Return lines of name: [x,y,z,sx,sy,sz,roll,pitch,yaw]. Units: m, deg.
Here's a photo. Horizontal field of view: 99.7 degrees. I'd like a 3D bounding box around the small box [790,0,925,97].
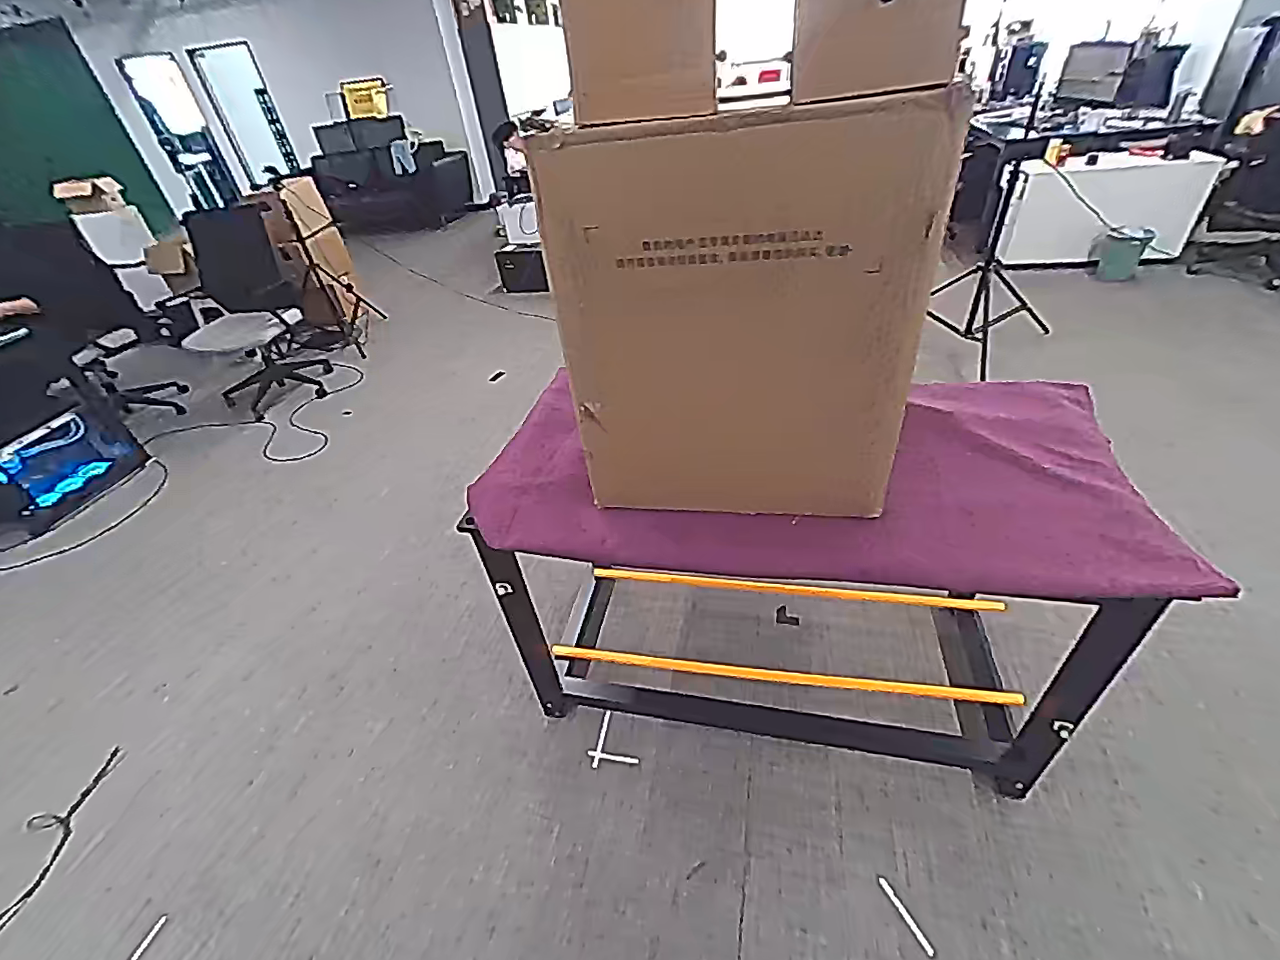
small box: [0.303,-0.660,0.773,0.168,0.176,0.179,2,39,15]
